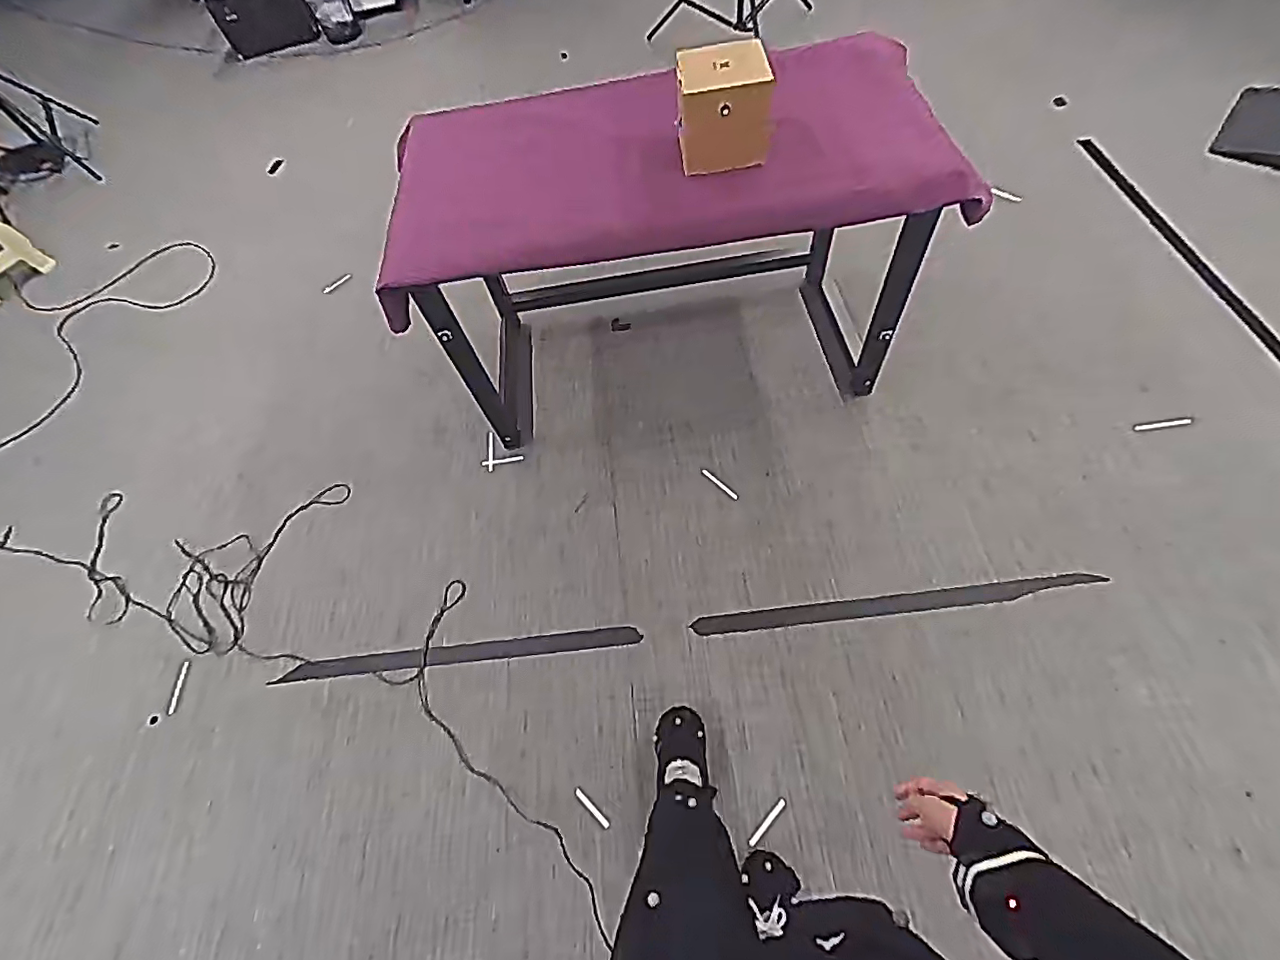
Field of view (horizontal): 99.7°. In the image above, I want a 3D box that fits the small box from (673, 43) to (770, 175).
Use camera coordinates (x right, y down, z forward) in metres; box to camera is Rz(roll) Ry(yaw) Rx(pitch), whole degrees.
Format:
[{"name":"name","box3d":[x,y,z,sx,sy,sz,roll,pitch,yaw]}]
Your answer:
[{"name":"small box","box3d":[0.168,-0.771,1.136,0.179,0.176,0.168,-6,61,4]}]
